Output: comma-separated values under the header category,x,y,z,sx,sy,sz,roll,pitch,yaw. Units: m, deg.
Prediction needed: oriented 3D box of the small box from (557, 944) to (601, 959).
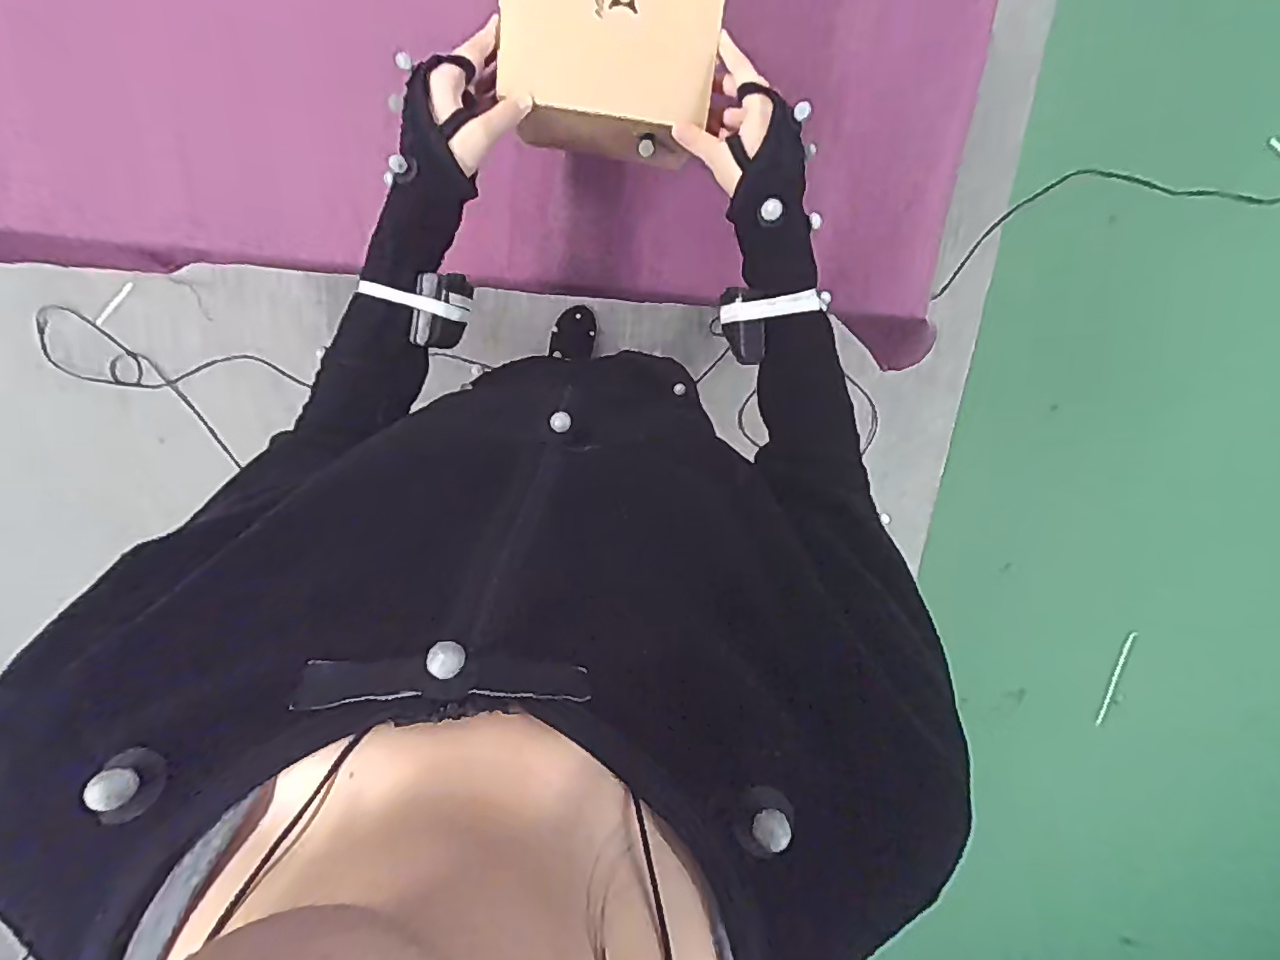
category,x,y,z,sx,sy,sz,roll,pitch,yaw
small box,-0.228,1.848,1.971,0.168,0.176,0.179,4,105,-4
